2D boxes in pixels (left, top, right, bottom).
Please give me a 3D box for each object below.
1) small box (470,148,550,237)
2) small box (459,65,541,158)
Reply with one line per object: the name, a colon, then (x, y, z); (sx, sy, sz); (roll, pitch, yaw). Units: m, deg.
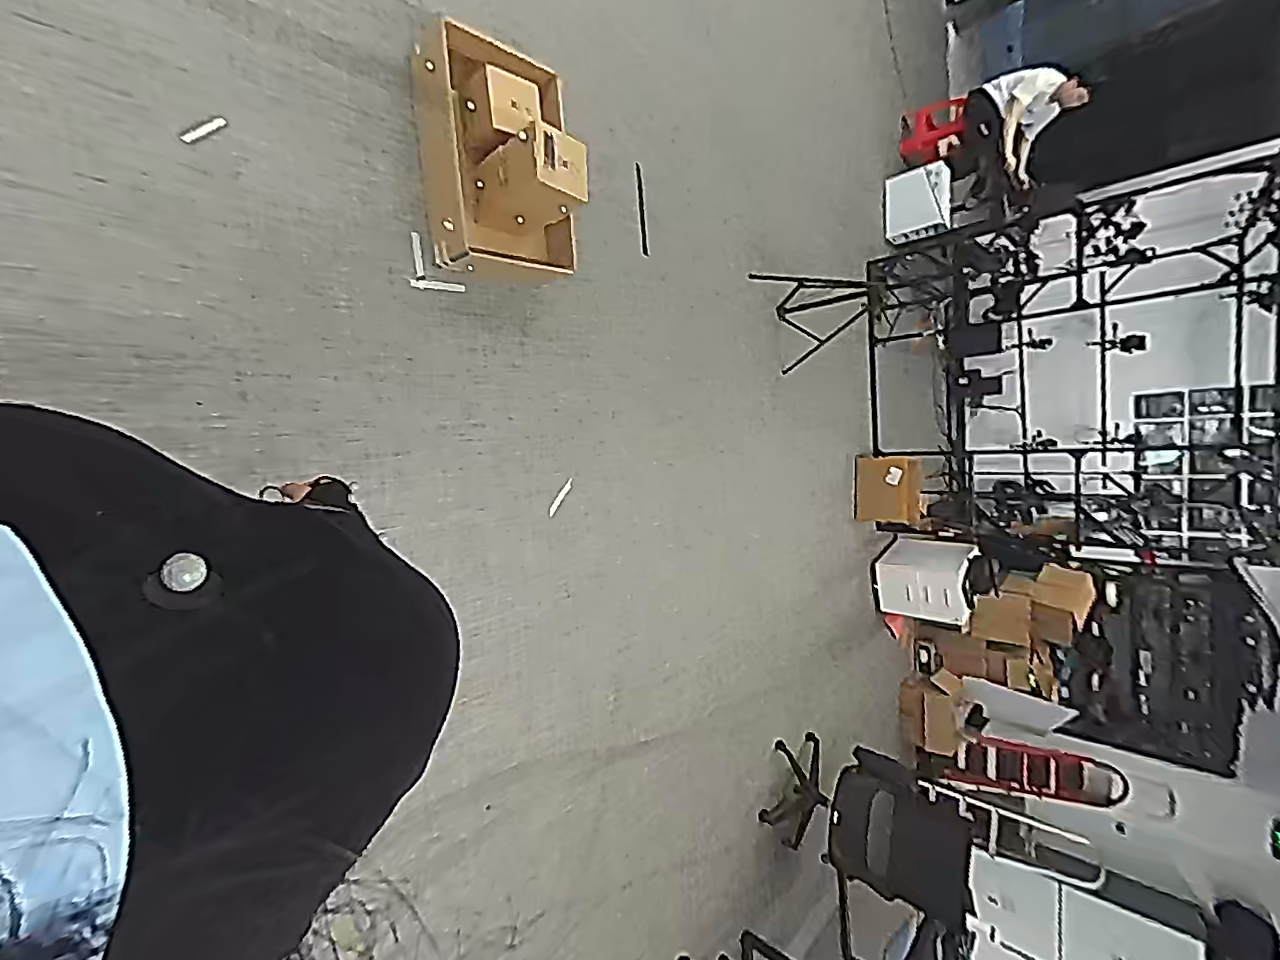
small box: (-0.395, -0.862, 1.643); (0.179, 0.176, 0.168); (-3, 91, -46)
small box: (-0.421, -1.073, 1.604); (0.179, 0.176, 0.168); (-12, 101, -46)
